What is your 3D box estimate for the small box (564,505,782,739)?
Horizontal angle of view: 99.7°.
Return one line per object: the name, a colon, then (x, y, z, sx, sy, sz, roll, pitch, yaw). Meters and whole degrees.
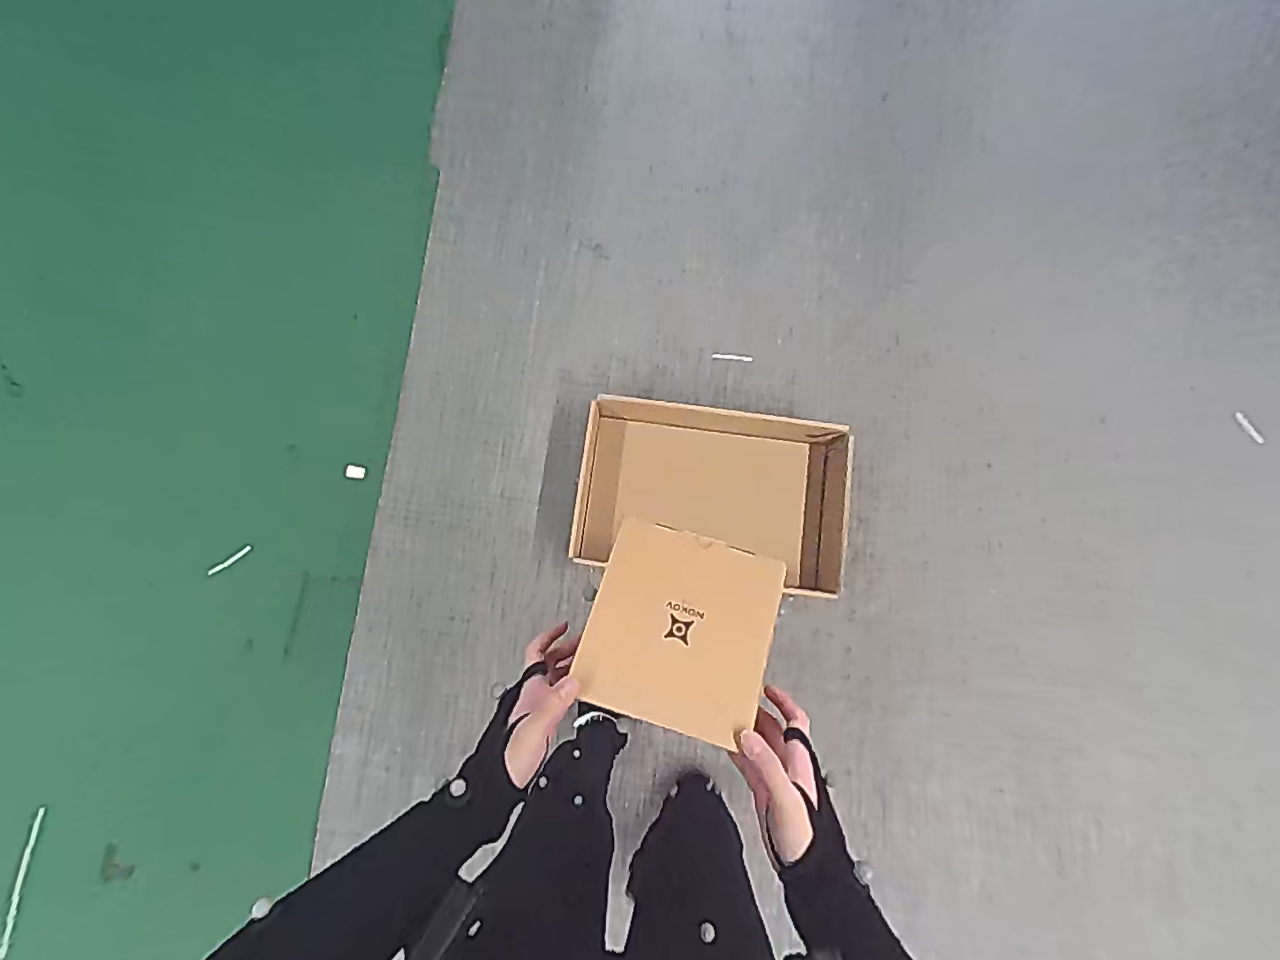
small box: (0.034, 0.154, 0.567, 0.168, 0.176, 0.179, 16, 65, 5)
